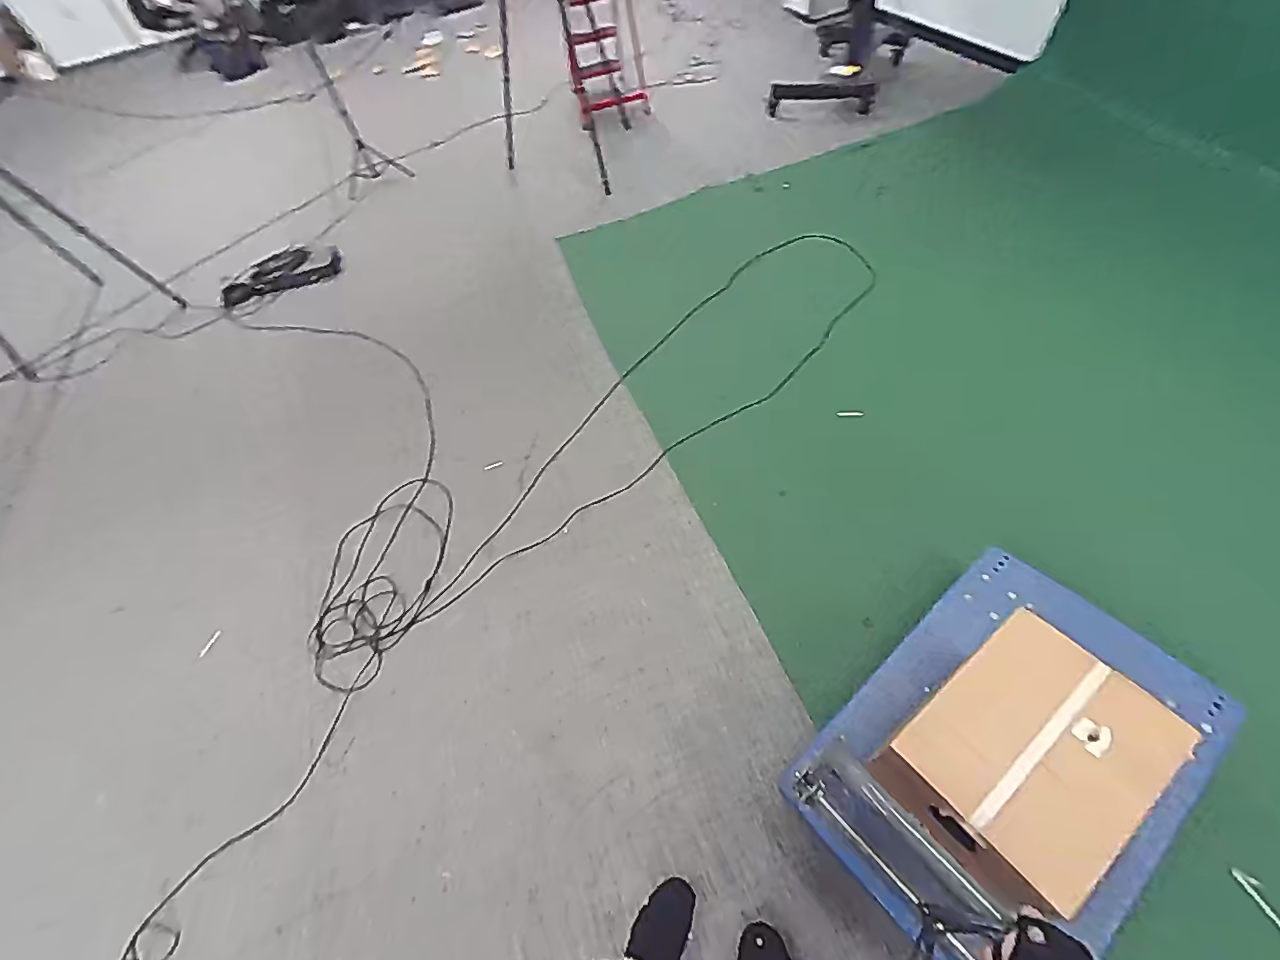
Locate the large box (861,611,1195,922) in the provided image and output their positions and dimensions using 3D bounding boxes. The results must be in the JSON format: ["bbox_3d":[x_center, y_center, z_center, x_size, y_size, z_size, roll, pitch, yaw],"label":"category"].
[{"bbox_3d":[0.704,0.543,1.045,0.408,0.320,0.320,-35,57,-17],"label":"large box"}]
